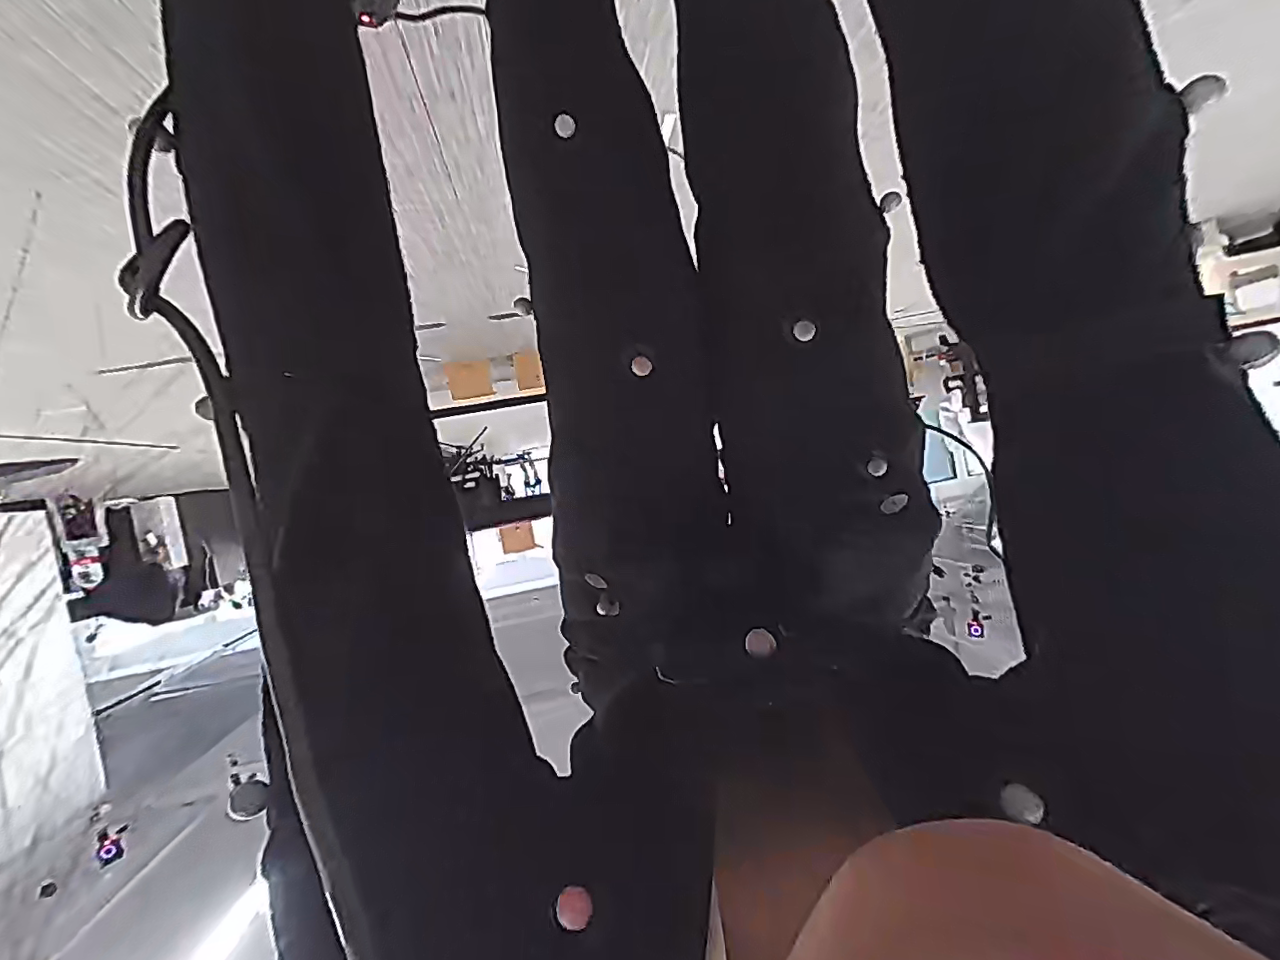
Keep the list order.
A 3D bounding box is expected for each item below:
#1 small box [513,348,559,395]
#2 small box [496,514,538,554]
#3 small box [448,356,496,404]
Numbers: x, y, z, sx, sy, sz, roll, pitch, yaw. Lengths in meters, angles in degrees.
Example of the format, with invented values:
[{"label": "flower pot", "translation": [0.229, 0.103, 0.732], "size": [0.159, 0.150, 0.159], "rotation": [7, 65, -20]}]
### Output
[{"label": "small box", "translation": [-0.472, -0.493, 2.453], "size": [0.179, 0.176, 0.168], "rotation": [-10, -179, -11]}, {"label": "small box", "translation": [-0.625, 0.267, 2.724], "size": [0.168, 0.176, 0.179], "rotation": [-12, -178, -21]}, {"label": "small box", "translation": [-0.741, -0.440, 2.384], "size": [0.179, 0.176, 0.168], "rotation": [-11, -178, -13]}]
